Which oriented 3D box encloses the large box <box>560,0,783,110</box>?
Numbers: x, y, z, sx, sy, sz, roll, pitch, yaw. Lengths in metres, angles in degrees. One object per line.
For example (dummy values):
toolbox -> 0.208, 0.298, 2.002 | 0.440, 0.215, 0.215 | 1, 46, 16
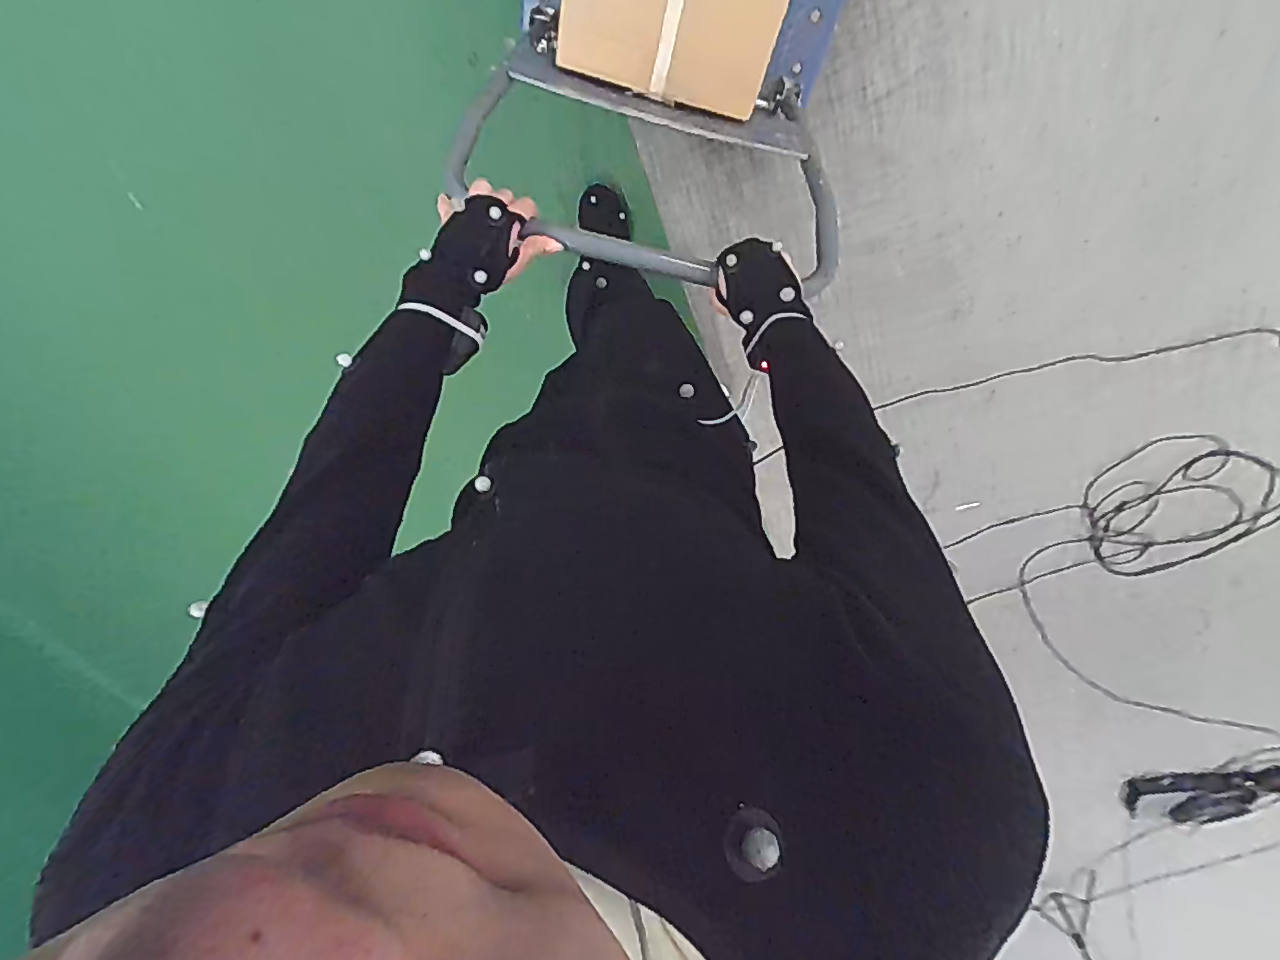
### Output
large box -> 0.076, -0.858, 0.816 | 0.320, 0.320, 0.408 | 11, 135, -8
